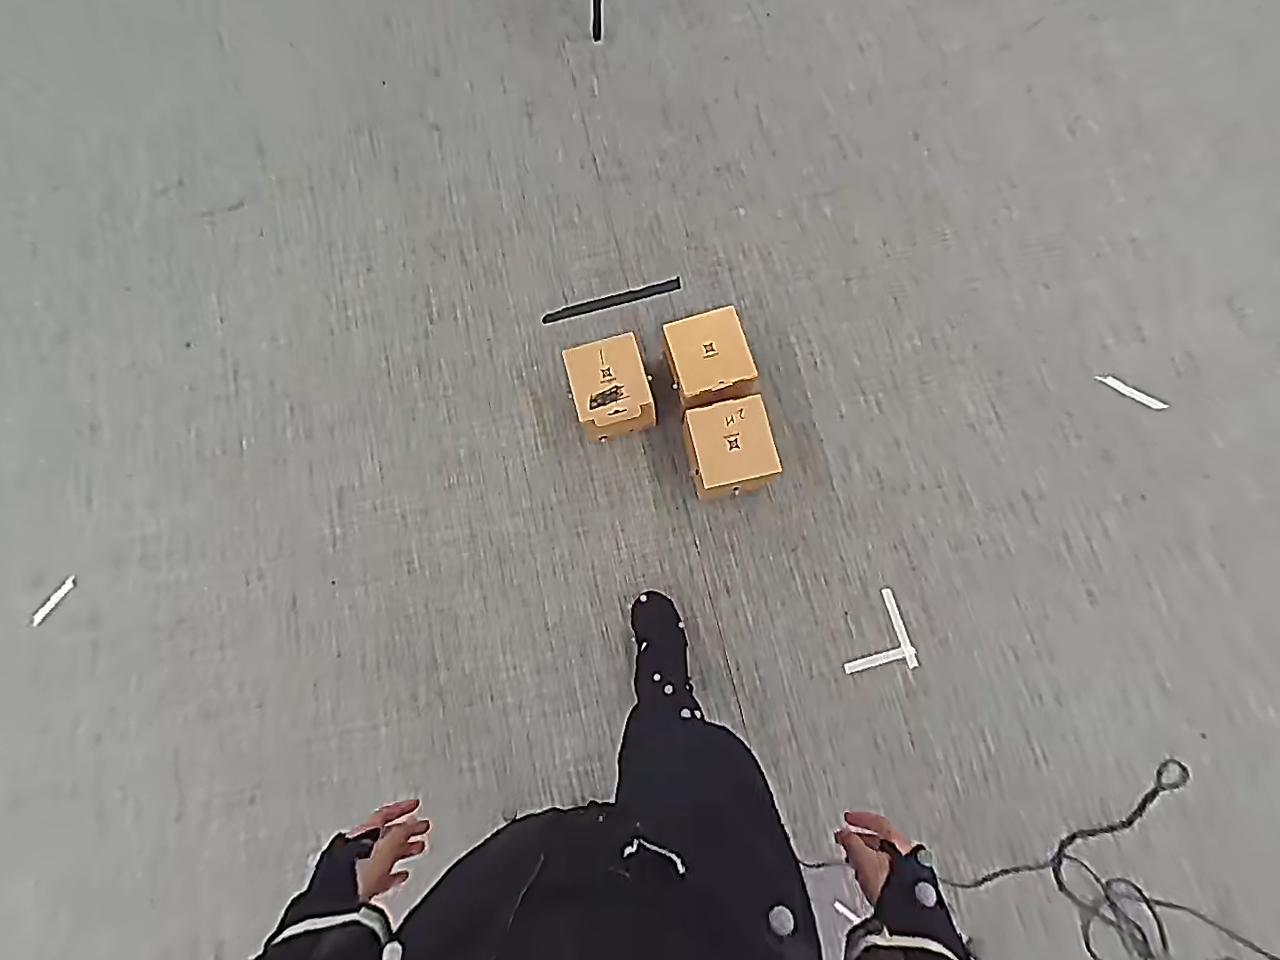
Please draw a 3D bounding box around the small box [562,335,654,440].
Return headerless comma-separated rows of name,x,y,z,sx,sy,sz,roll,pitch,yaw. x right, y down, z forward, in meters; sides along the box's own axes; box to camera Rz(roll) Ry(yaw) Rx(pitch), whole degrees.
small box,-0.066,-0.202,1.244,0.168,0.176,0.179,-15,77,0
